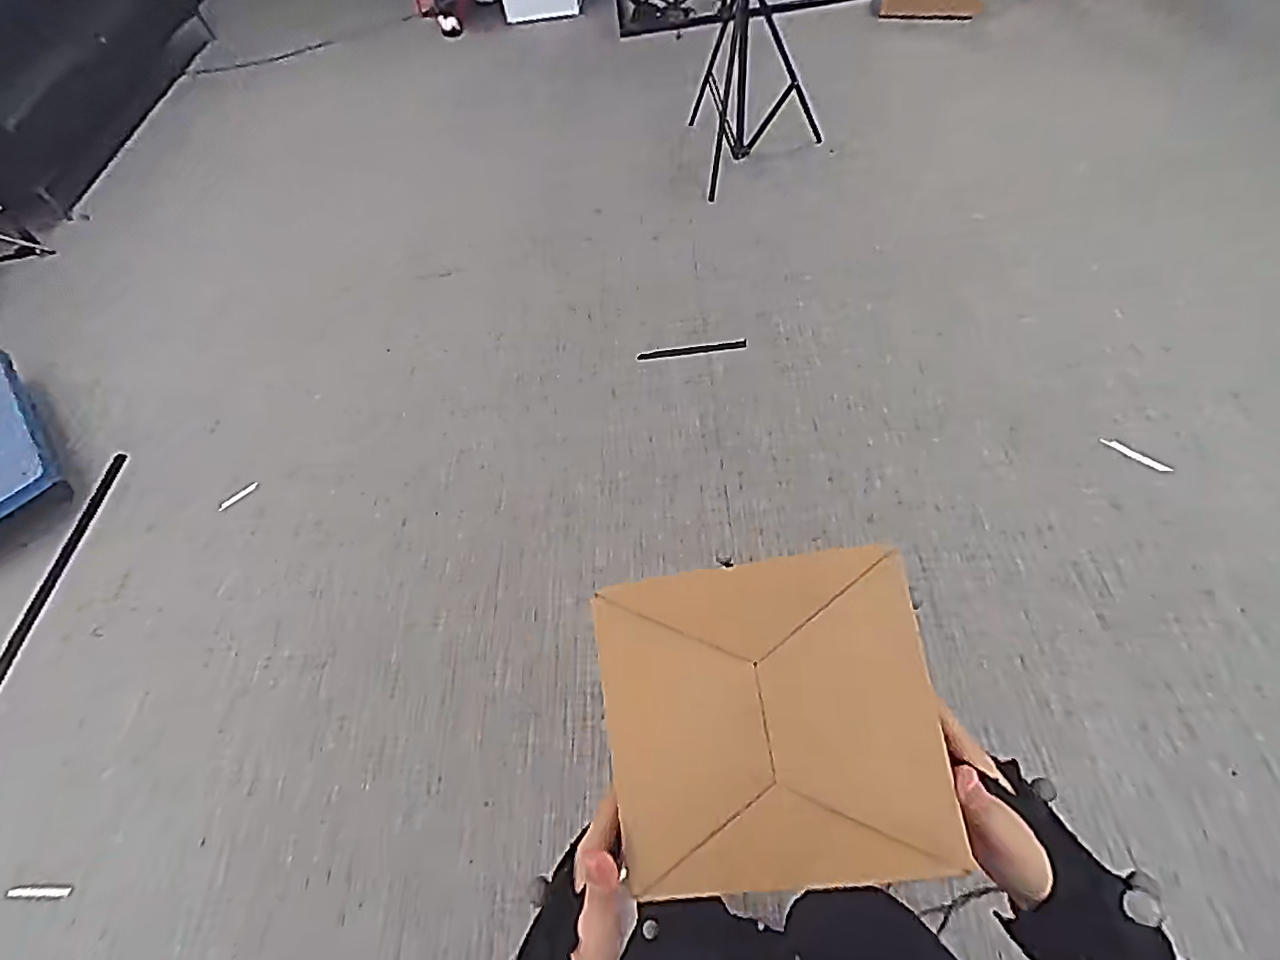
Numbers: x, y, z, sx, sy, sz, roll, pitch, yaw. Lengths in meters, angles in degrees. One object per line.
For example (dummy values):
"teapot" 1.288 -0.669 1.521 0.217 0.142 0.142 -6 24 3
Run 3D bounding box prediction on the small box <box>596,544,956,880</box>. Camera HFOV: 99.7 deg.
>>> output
"small box" 0.082 0.137 0.370 0.179 0.176 0.168 -10 80 8
